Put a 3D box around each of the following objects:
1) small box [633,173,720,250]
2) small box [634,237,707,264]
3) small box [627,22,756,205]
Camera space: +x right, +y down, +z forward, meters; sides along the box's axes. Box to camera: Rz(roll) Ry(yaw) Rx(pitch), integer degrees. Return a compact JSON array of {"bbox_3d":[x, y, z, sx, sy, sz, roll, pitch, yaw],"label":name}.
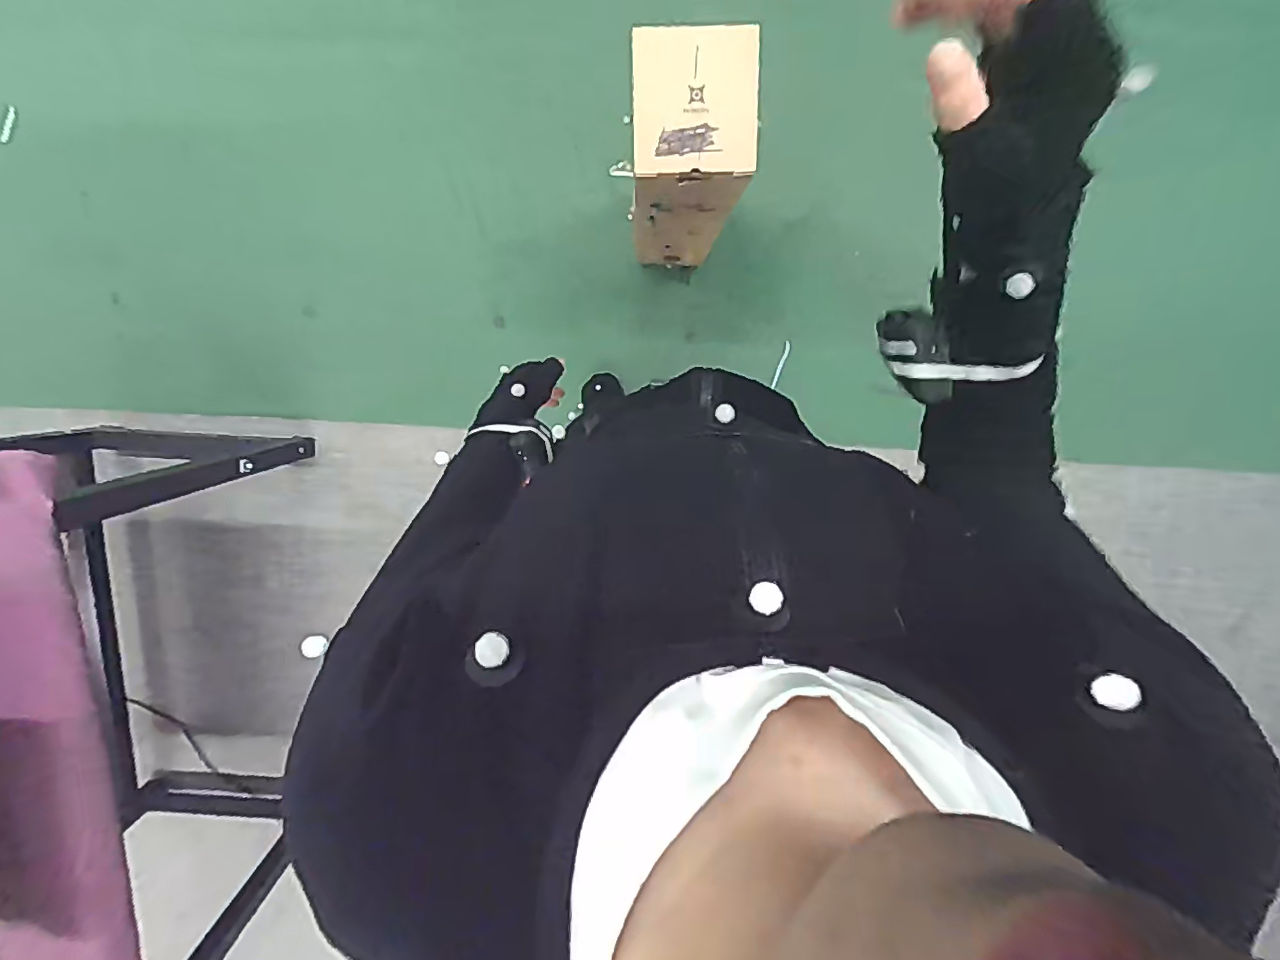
[{"bbox_3d":[0.070,-0.581,1.104,0.168,0.176,0.179,-1,103,-1],"label":"small box"},{"bbox_3d":[0.071,-0.615,1.263,0.168,0.176,0.179,2,102,0],"label":"small box"},{"bbox_3d":[0.071,-0.511,0.783,0.168,0.176,0.179,-4,104,0],"label":"small box"}]
